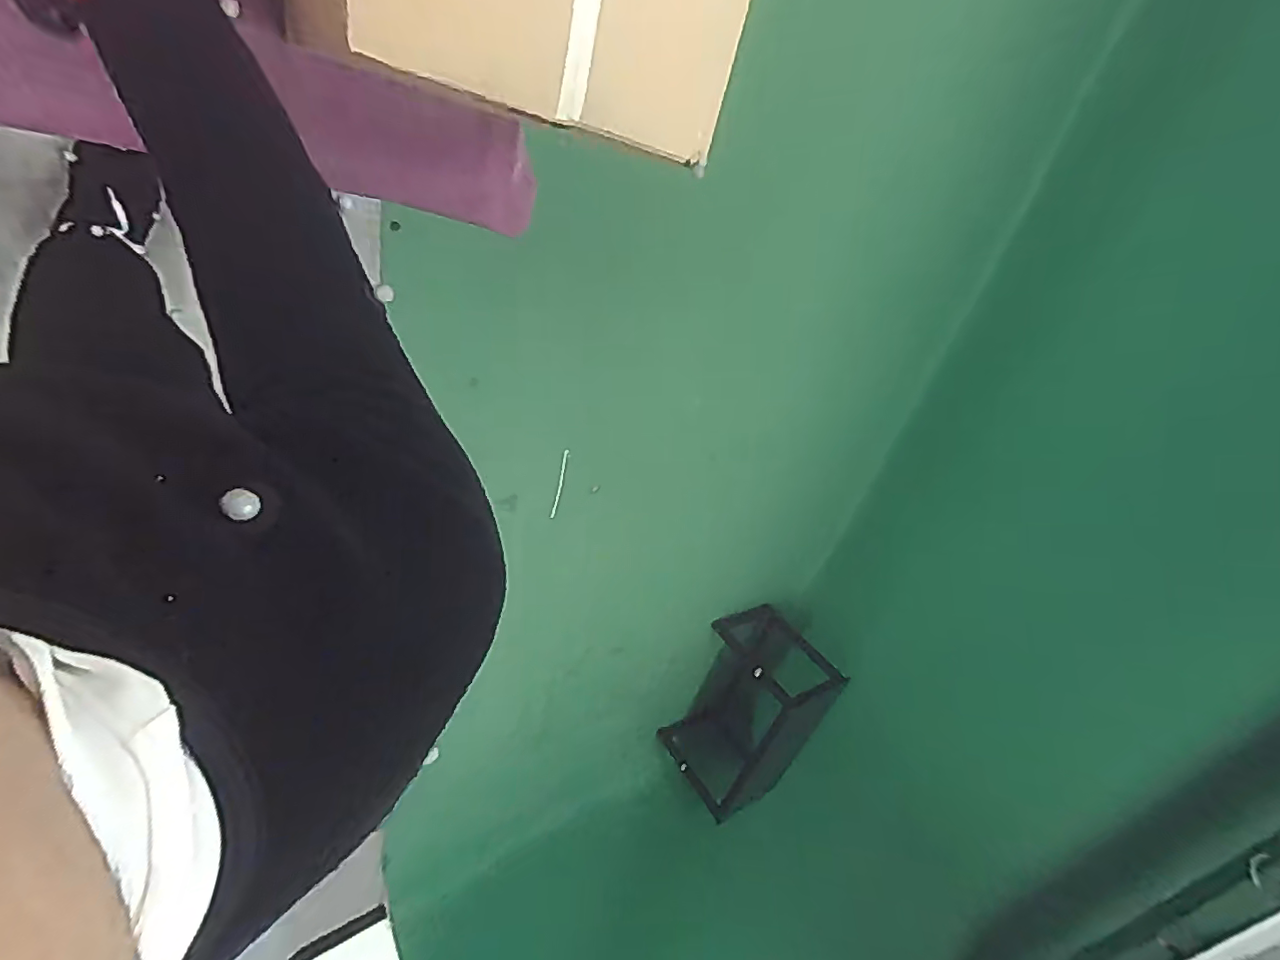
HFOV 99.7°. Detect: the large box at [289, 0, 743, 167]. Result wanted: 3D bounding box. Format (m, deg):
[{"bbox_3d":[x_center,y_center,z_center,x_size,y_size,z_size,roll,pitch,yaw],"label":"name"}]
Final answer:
[{"bbox_3d":[-0.096,-0.537,0.437,0.320,0.320,0.408,-7,128,-36],"label":"large box"}]
